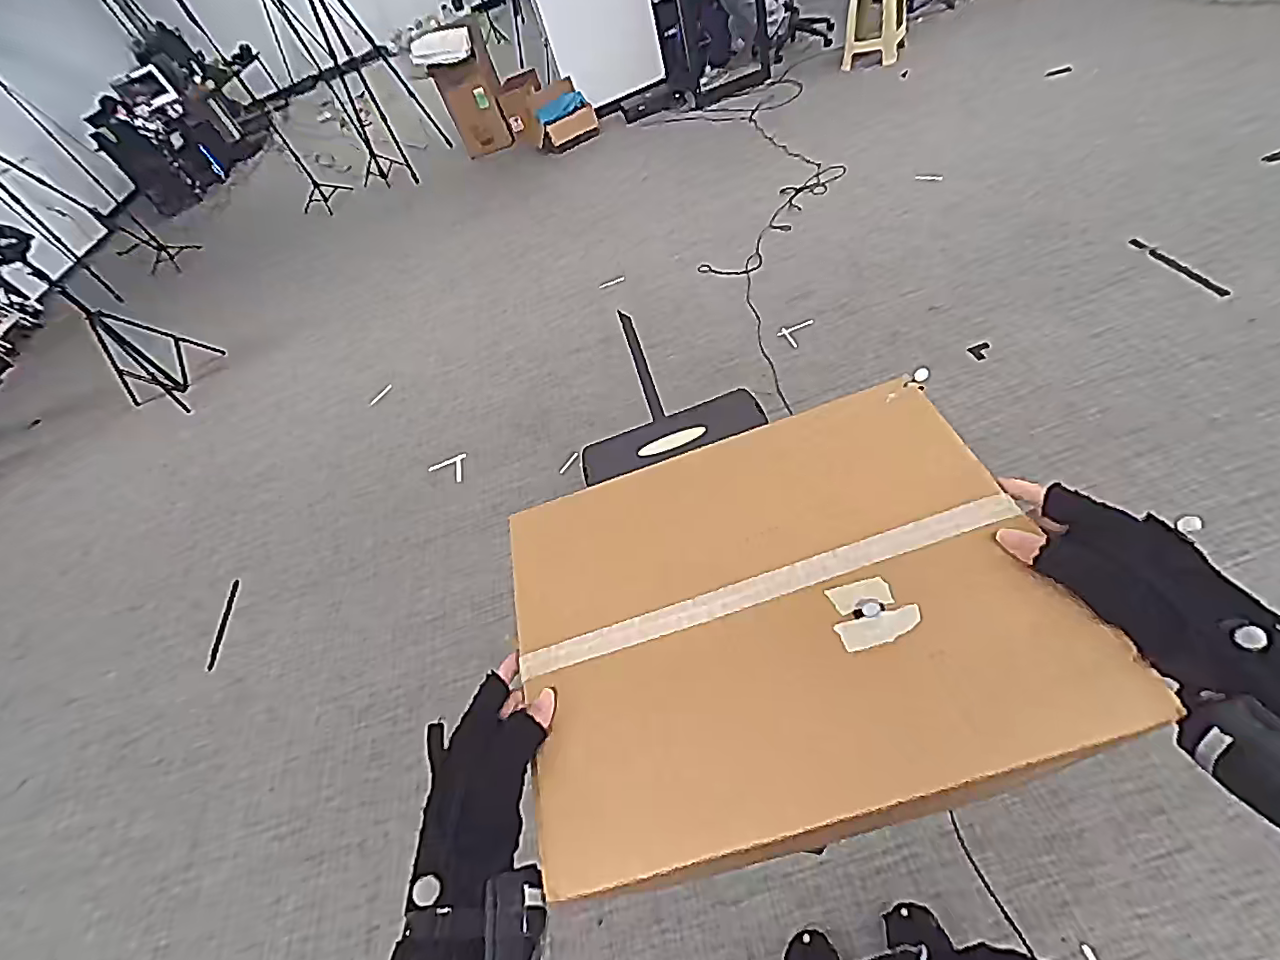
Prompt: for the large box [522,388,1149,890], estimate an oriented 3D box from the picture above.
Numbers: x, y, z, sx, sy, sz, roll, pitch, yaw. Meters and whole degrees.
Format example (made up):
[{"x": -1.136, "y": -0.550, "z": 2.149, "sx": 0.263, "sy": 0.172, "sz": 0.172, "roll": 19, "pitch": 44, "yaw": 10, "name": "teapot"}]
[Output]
[{"x": 0.137, "y": 0.176, "z": 0.555, "sx": 0.408, "sy": 0.320, "sz": 0.320, "roll": -19, "pitch": 52, "yaw": 3, "name": "large box"}]
